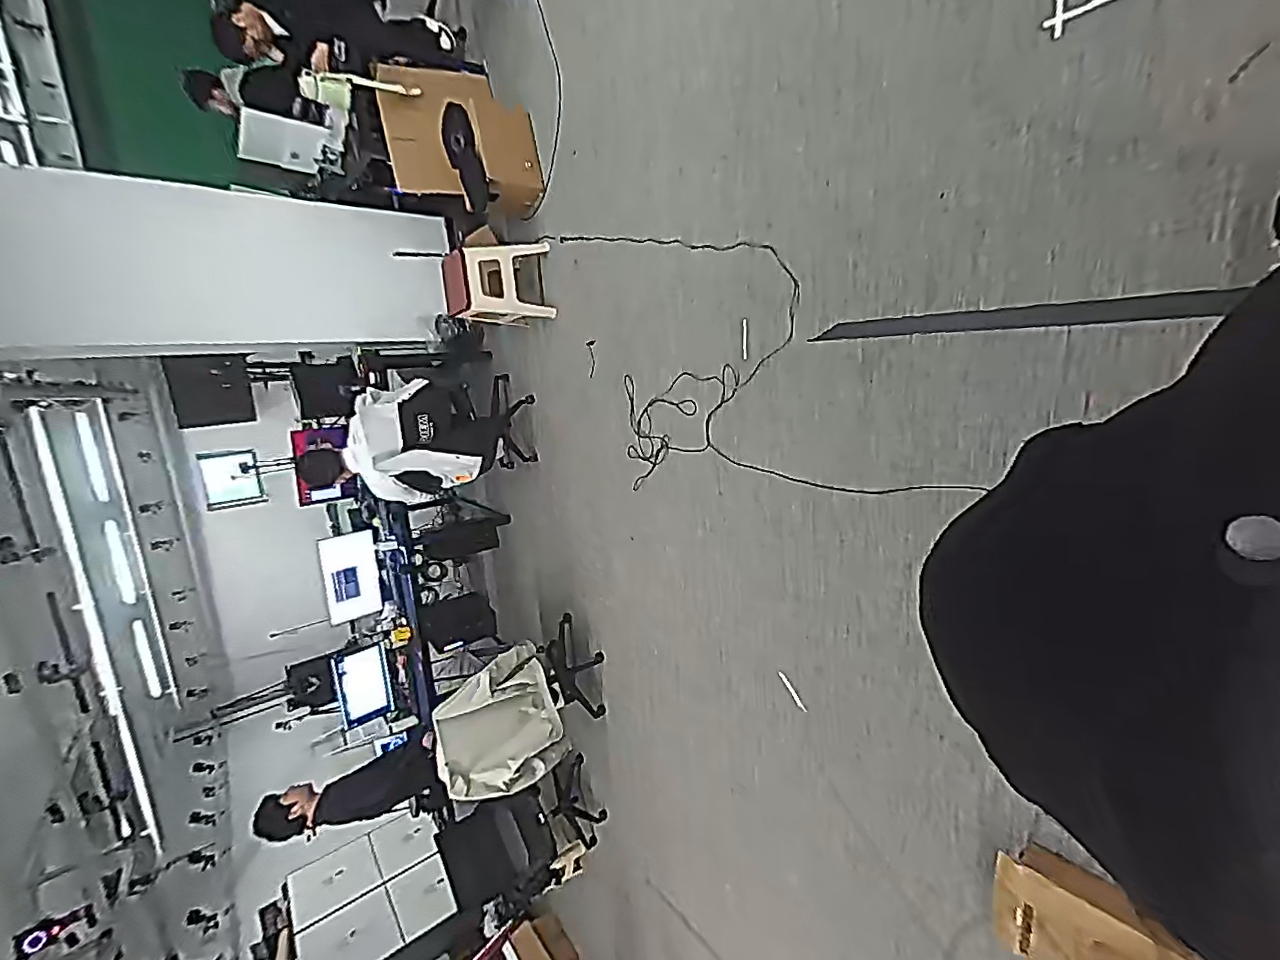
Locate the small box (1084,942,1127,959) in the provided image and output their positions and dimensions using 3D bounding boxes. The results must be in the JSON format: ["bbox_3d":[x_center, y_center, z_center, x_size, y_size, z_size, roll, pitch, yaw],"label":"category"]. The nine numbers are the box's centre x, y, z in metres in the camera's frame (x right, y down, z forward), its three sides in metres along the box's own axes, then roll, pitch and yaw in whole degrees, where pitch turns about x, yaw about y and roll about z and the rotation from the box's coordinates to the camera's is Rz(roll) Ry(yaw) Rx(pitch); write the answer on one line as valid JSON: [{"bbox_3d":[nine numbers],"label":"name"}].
[{"bbox_3d":[1.080,1.201,1.201,0.168,0.176,0.179,8,107,53],"label":"small box"}]
